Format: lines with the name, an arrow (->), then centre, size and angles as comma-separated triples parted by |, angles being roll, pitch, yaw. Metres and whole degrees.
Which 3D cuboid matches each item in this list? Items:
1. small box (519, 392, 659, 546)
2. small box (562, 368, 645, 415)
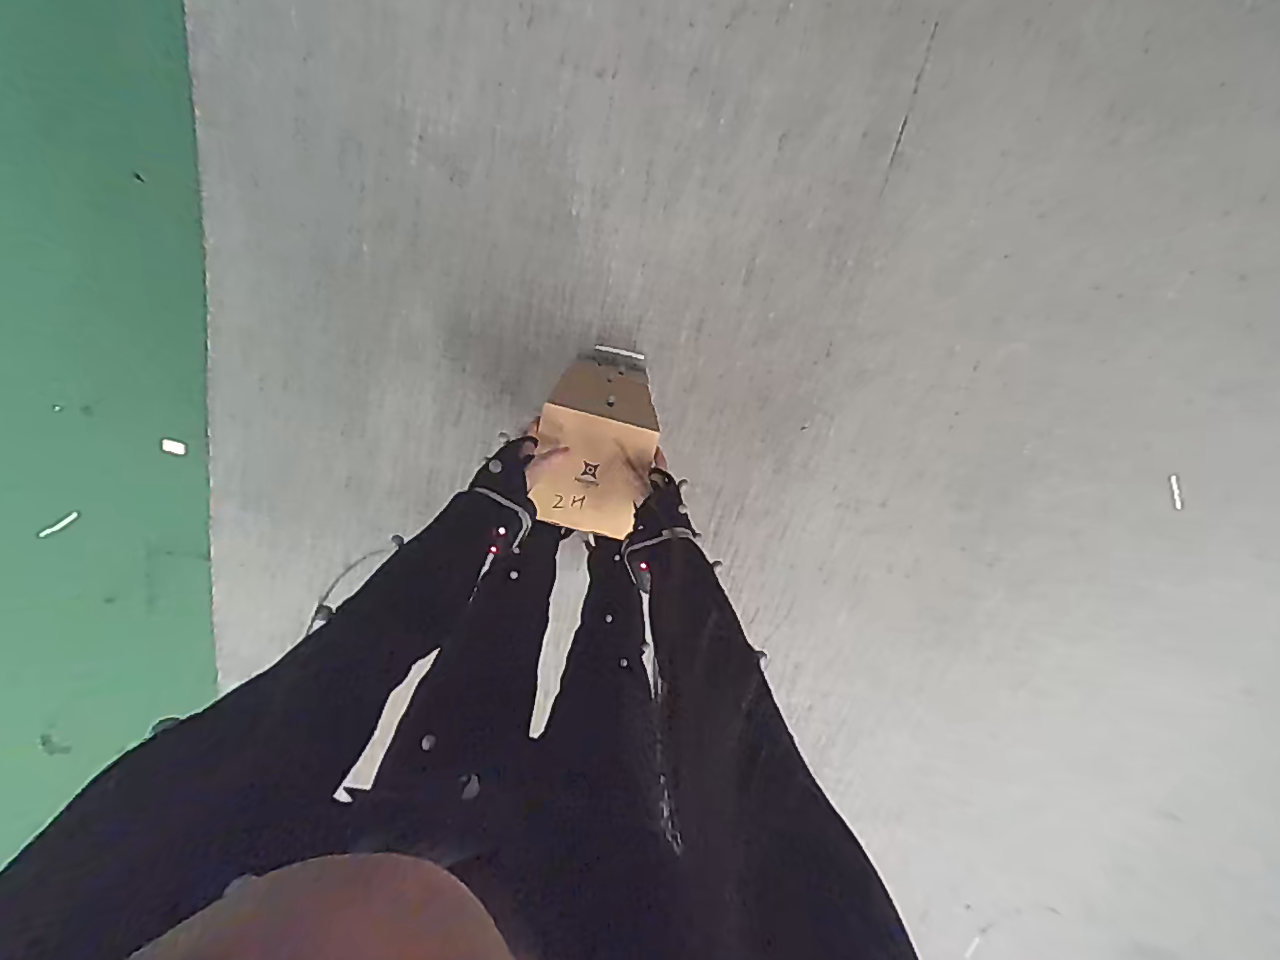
small box -> -0.079, -0.026, 0.842 | 0.168, 0.176, 0.179 | 15, 108, -7
small box -> -0.092, -0.133, 1.153 | 0.168, 0.176, 0.179 | 11, 108, -7
